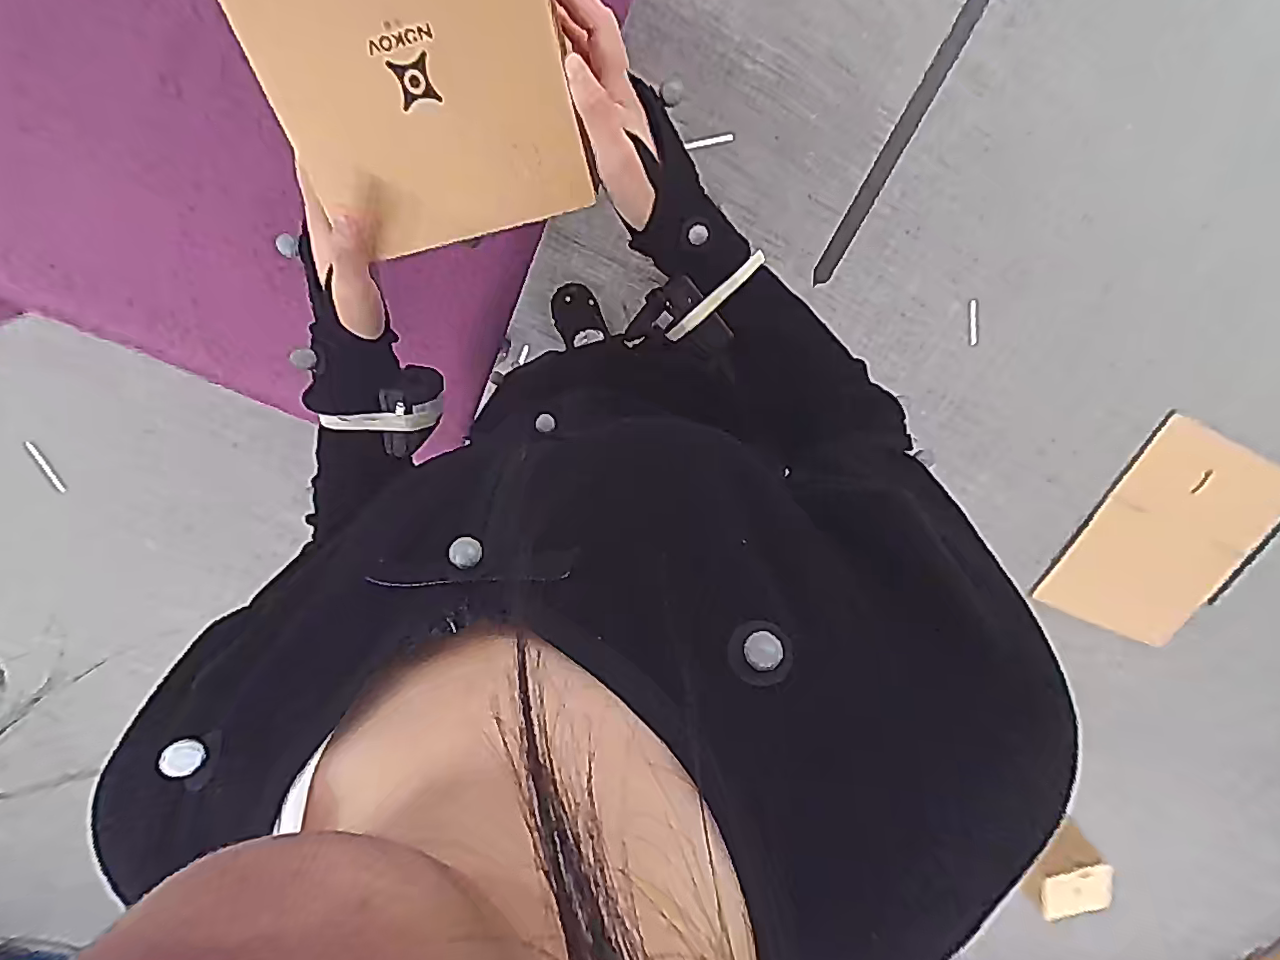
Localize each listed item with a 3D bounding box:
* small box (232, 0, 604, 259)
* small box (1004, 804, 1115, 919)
[{"bbox_3d":[-0.122,-0.270,0.358,0.168,0.176,0.179,-11,123,5],"label":"small box"},{"bbox_3d":[1.093,1.000,1.424,0.168,0.176,0.179,-17,112,2],"label":"small box"}]
